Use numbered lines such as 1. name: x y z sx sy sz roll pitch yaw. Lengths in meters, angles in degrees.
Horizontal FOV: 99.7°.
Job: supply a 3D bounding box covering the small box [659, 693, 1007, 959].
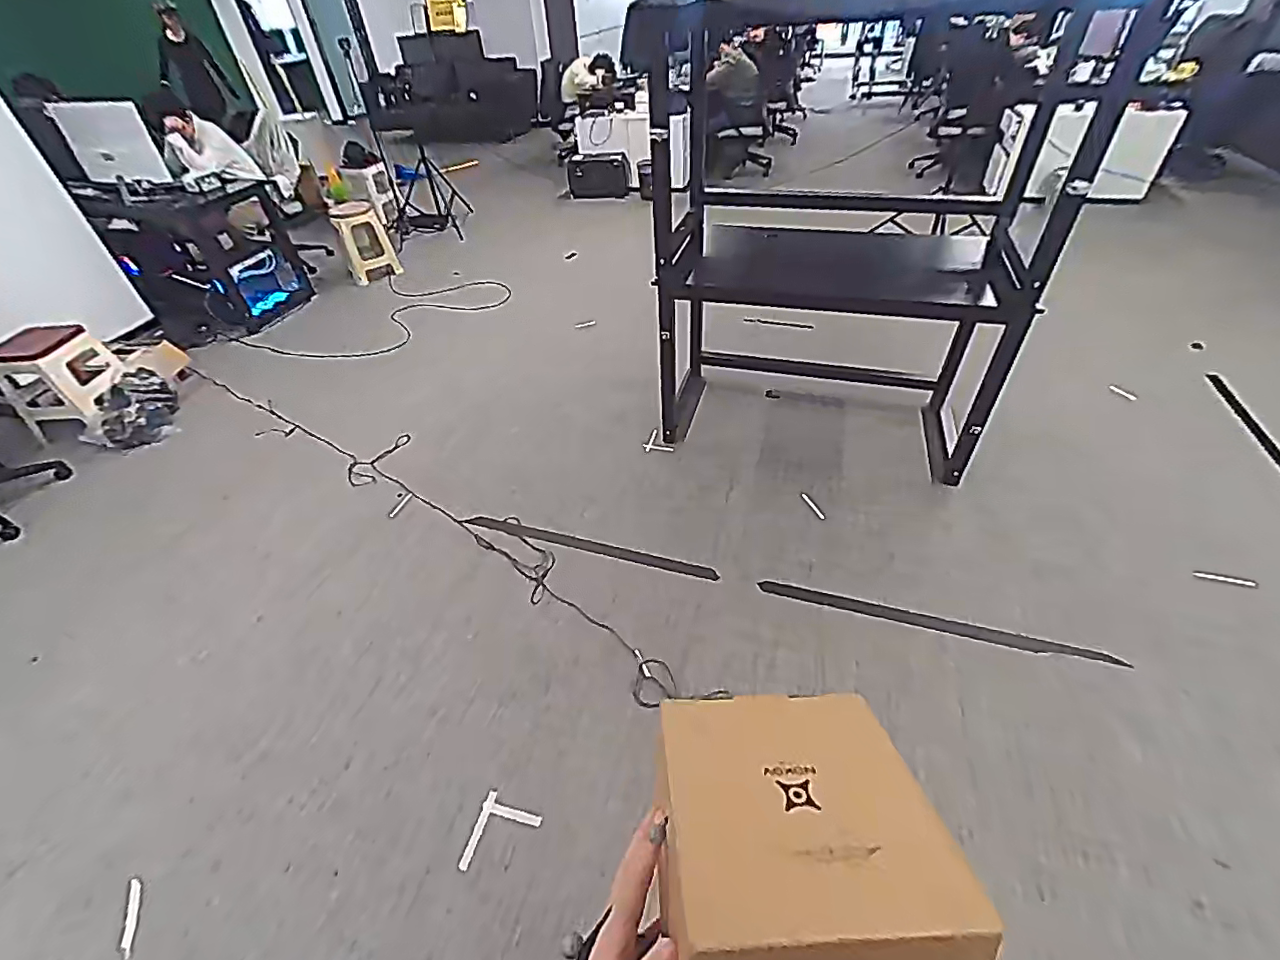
1. small box: 0.102 0.277 0.377 0.168 0.176 0.179 -1 20 -3
